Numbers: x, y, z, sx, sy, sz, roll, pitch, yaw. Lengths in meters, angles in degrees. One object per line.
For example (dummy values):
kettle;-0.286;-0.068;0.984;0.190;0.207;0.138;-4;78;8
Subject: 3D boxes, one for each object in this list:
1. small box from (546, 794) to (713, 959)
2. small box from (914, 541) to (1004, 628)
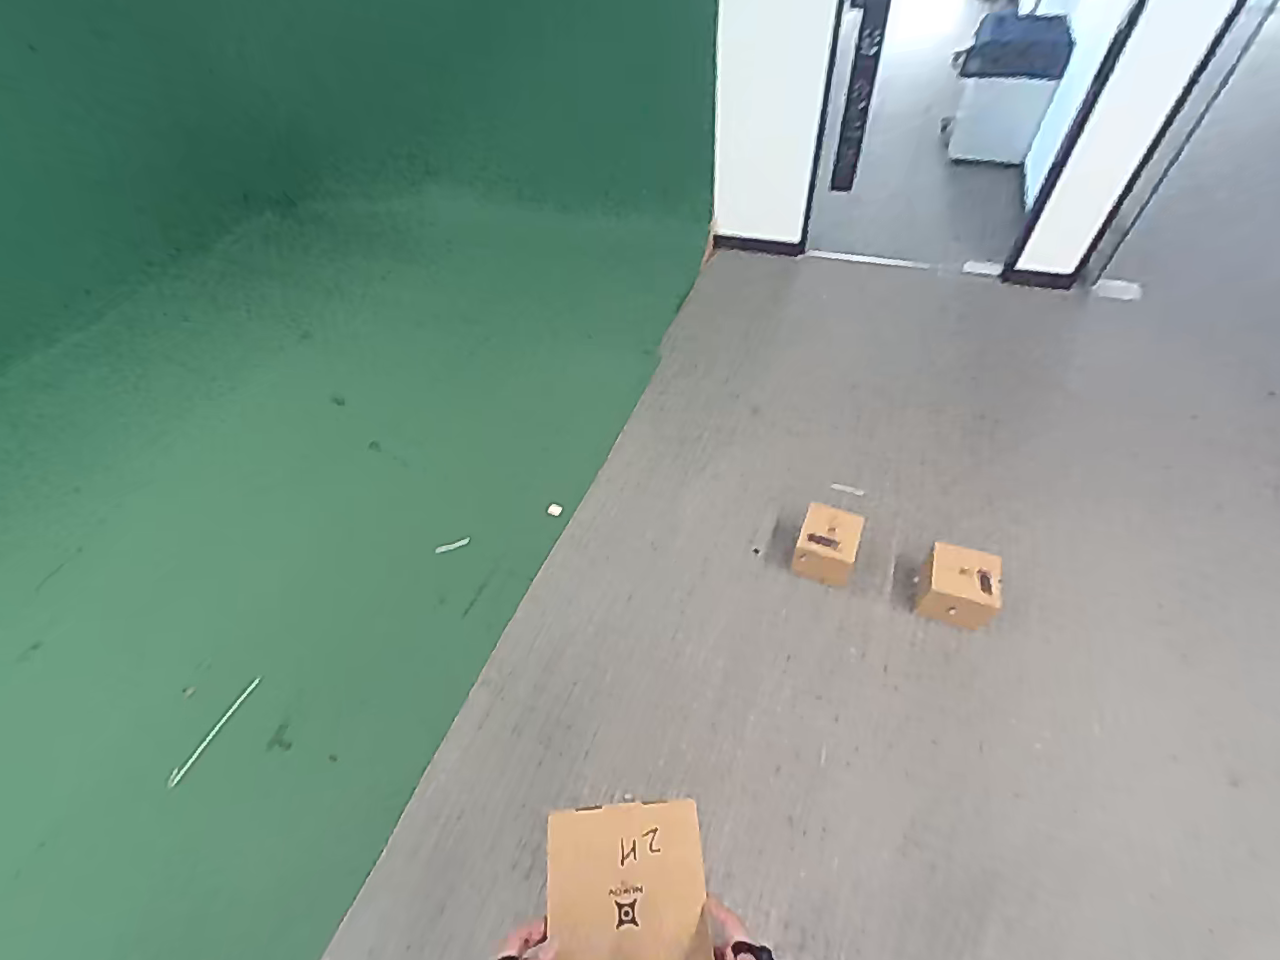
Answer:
small box;-0.008;0.463;0.613;0.168;0.176;0.179;-4;57;0
small box;0.911;0.304;1.548;0.179;0.176;0.168;14;55;18
